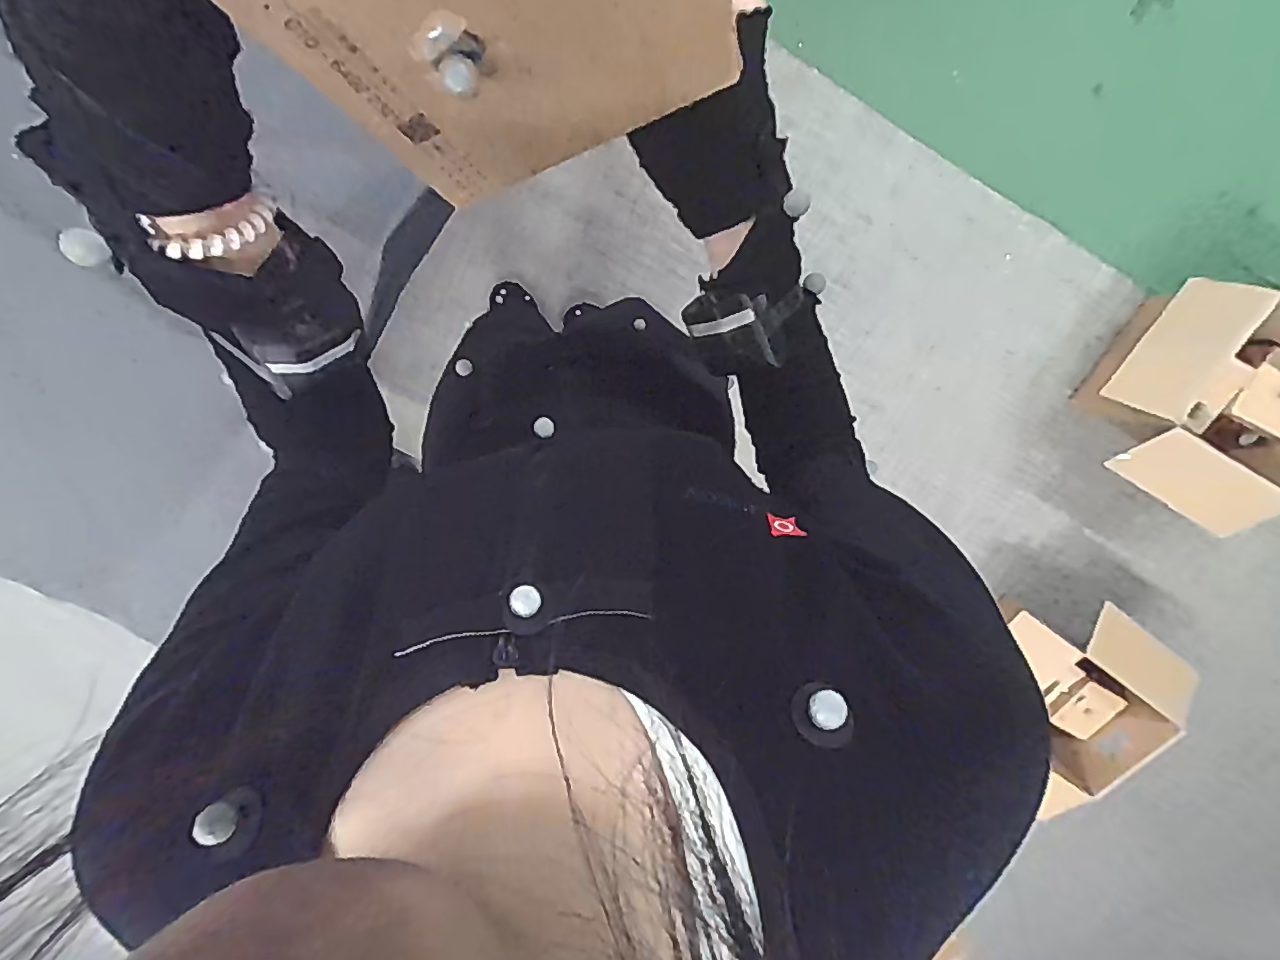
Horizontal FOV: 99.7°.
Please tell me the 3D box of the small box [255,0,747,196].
[{"bbox_3d":[-0.064,-0.259,0.215,0.176,0.168,0.179,-16,85,12],"label":"small box"}]
